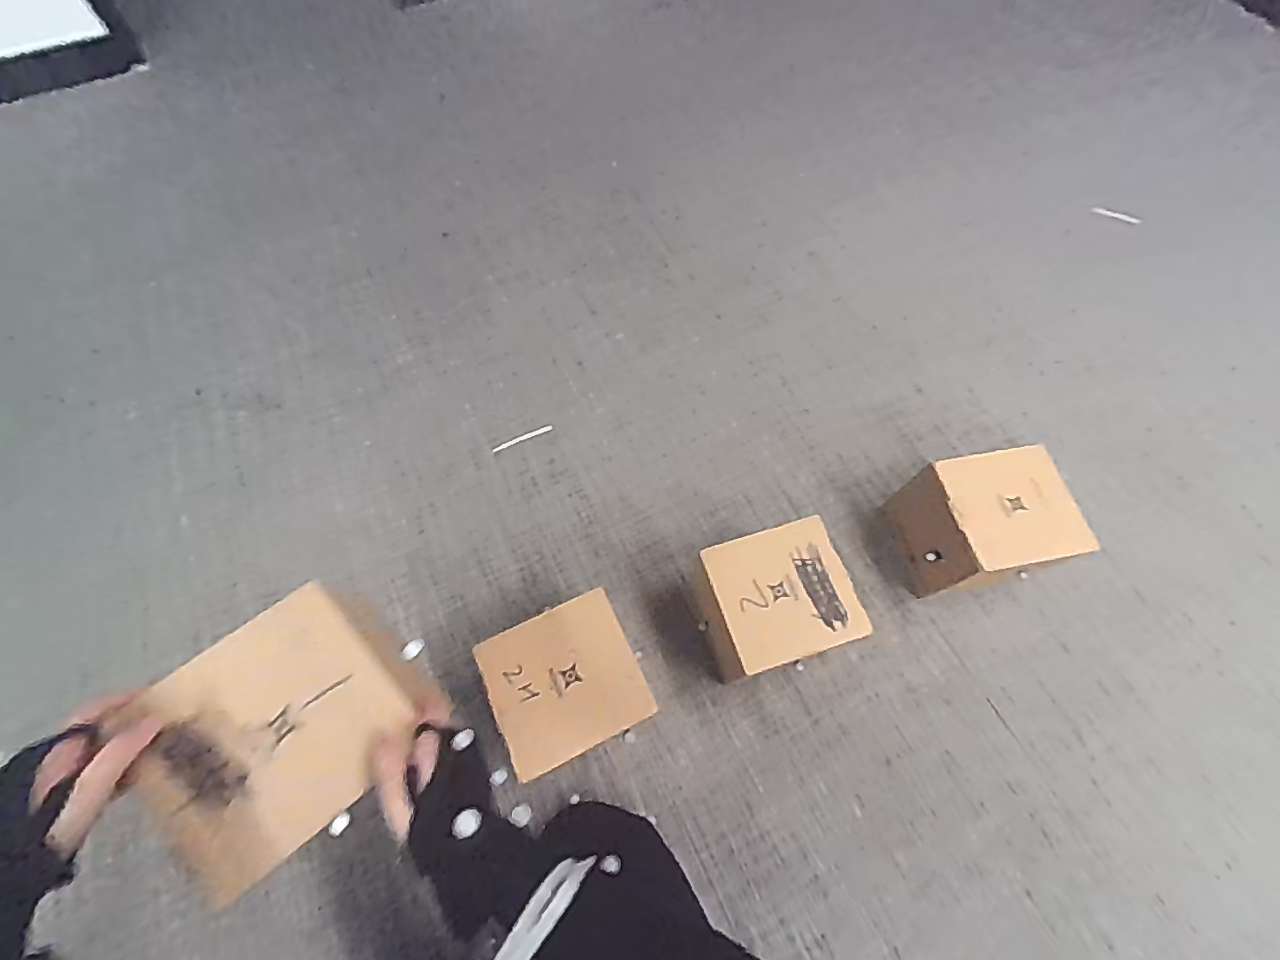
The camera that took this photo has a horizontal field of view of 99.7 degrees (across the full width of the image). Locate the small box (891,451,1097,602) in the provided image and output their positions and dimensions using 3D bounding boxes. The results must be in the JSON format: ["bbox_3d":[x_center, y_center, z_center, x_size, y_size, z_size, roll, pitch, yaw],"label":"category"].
[{"bbox_3d":[0.508,0.077,0.815,0.179,0.176,0.168,-8,66,-6],"label":"small box"}]

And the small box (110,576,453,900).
[{"bbox_3d":[-0.295,0.211,0.494,0.179,0.176,0.168,-37,86,-19],"label":"small box"}]
